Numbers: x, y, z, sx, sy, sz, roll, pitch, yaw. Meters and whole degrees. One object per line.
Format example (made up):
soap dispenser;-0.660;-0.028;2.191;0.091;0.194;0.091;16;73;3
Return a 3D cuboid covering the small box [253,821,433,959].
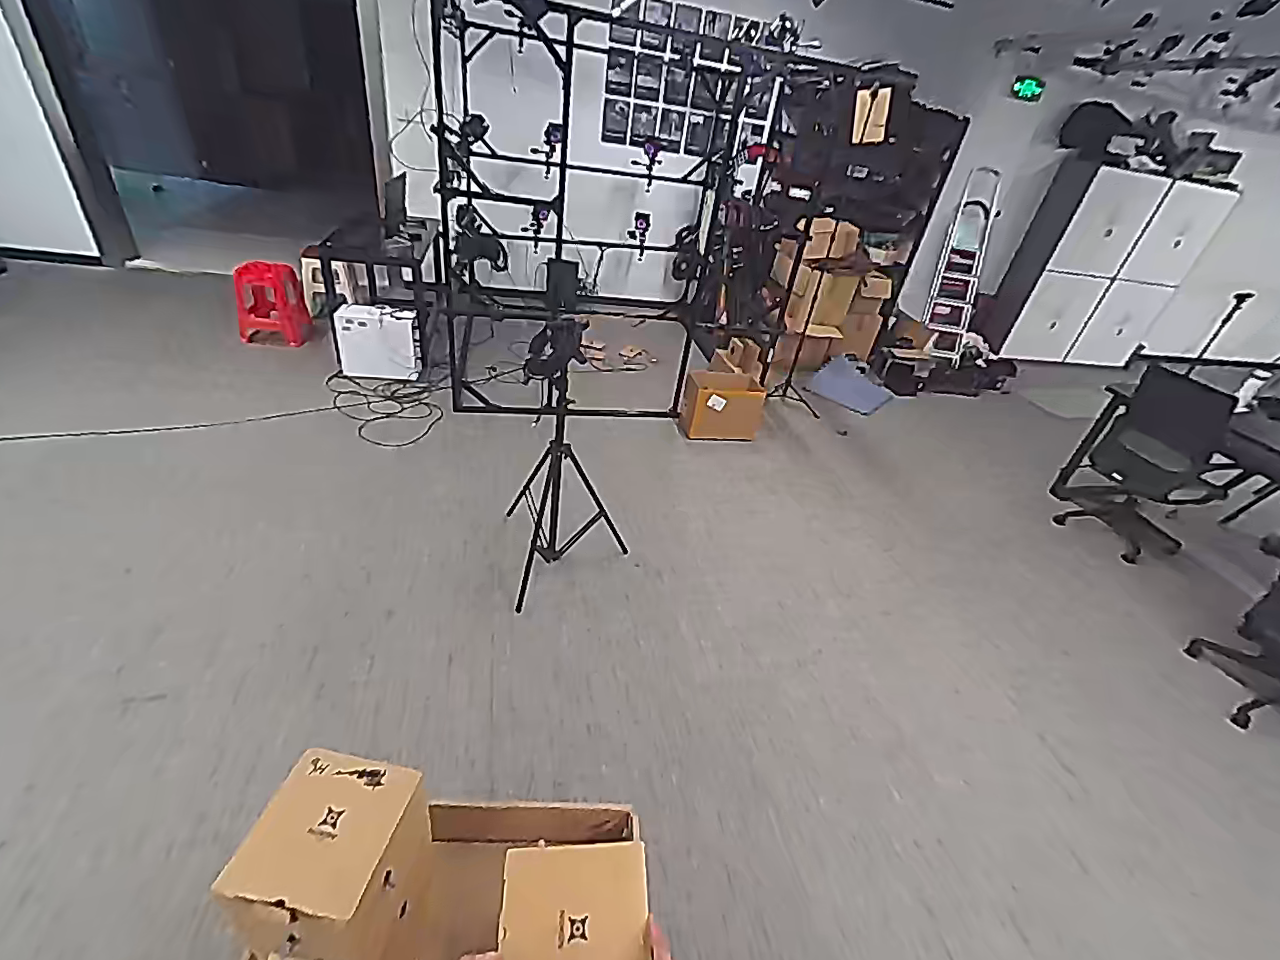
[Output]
small box;-0.421;0.628;0.806;0.168;0.176;0.179;10;32;0

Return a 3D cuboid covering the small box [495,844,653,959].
small box;-0.075;0.571;0.668;0.179;0.176;0.168;-3;42;-2

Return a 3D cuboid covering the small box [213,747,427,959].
small box;-0.397;0.495;0.712;0.168;0.176;0.179;12;33;3
